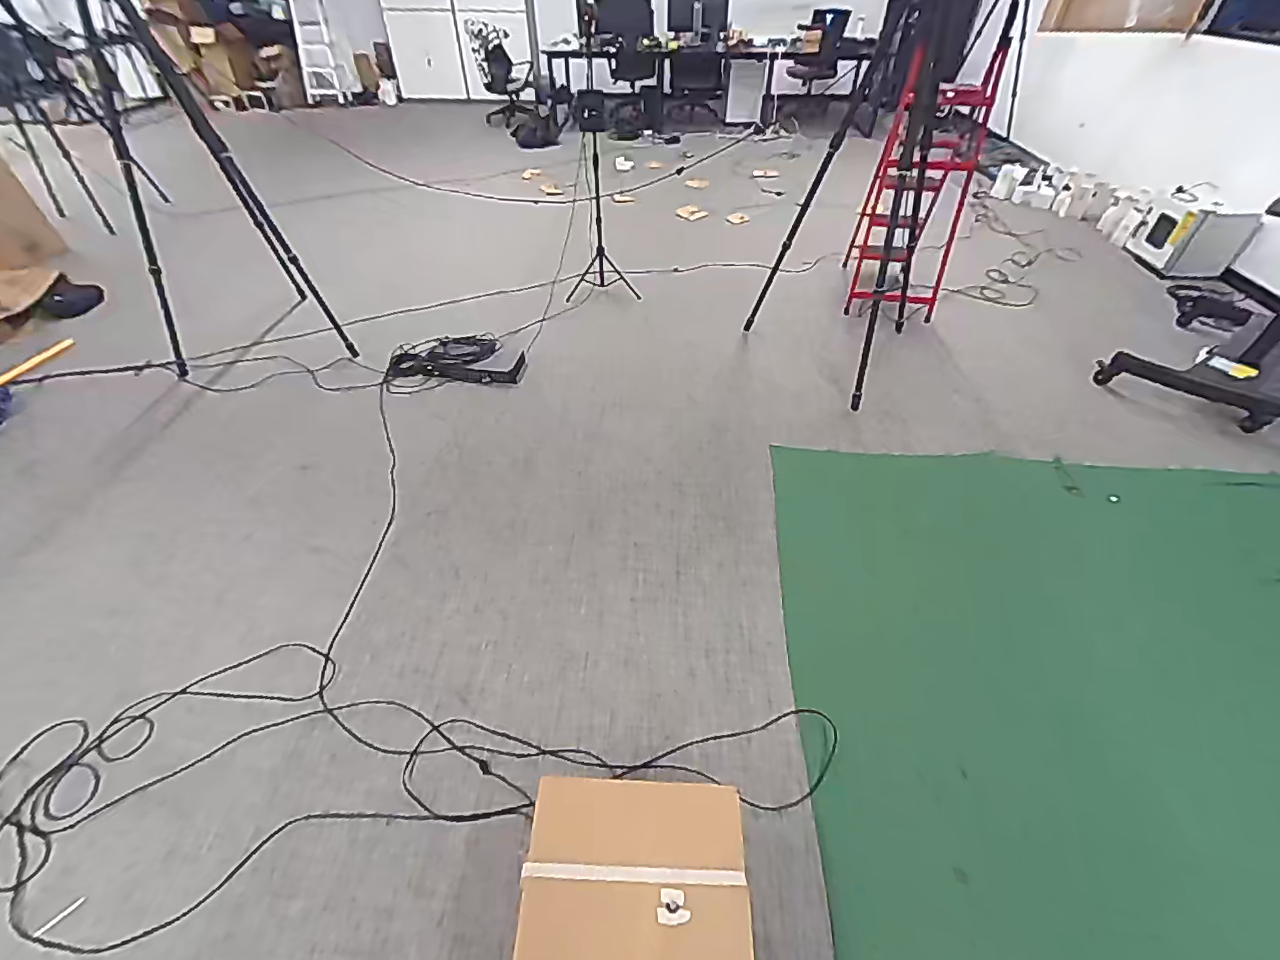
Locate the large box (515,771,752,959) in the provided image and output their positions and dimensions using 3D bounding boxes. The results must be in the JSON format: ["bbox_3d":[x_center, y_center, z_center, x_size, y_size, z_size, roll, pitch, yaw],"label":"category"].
[{"bbox_3d":[-0.016,0.813,1.094,0.408,0.320,0.320,3,45,0],"label":"large box"}]
